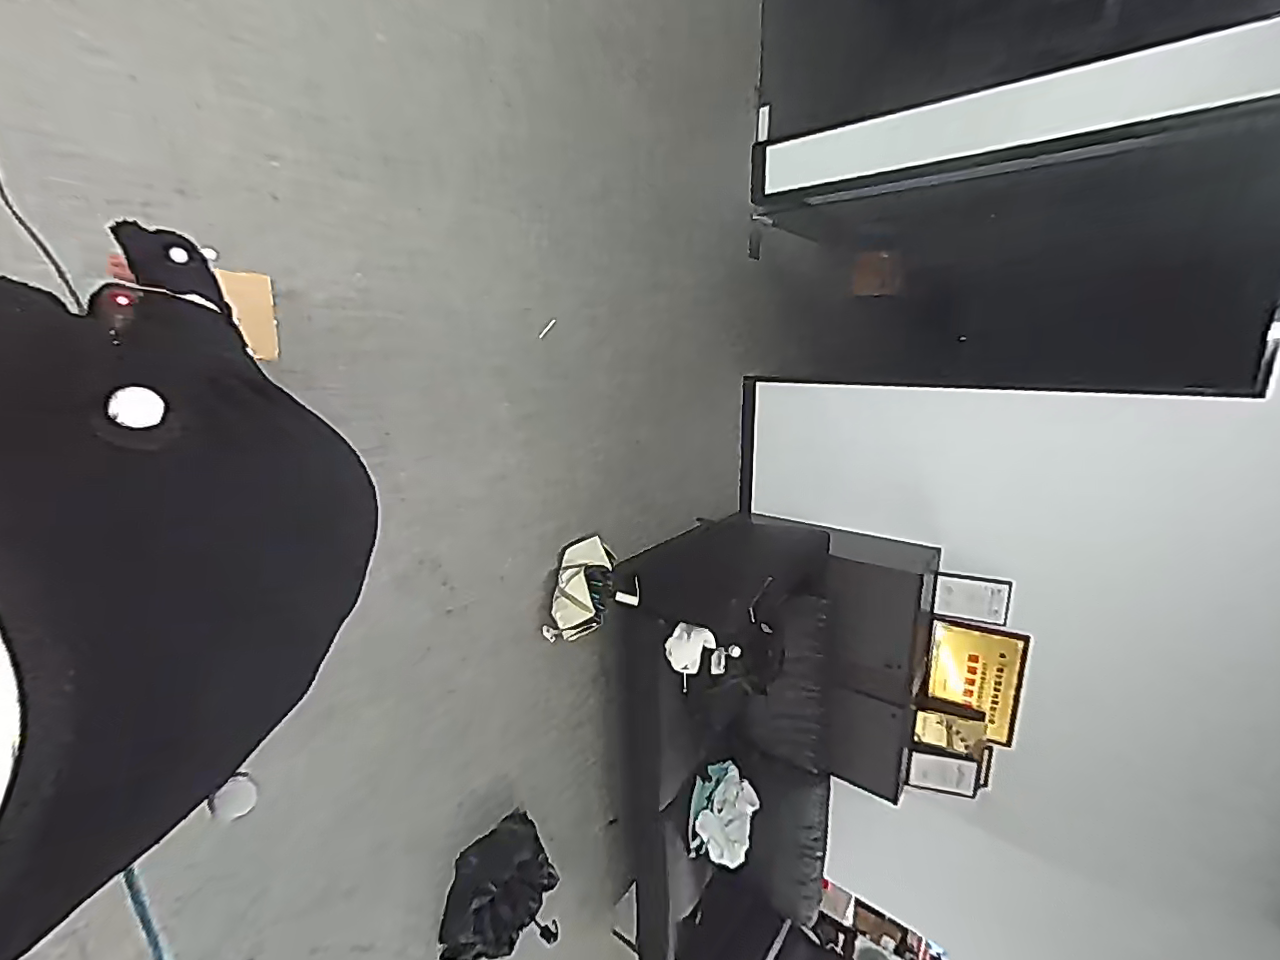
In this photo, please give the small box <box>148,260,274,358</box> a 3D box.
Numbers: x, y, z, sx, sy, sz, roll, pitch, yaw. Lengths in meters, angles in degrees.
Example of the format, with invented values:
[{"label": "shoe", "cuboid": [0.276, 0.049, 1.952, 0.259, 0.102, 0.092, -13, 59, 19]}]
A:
[{"label": "small box", "cuboid": [-0.900, -0.350, 1.137, 0.168, 0.176, 0.179, -14, 110, -51]}]
